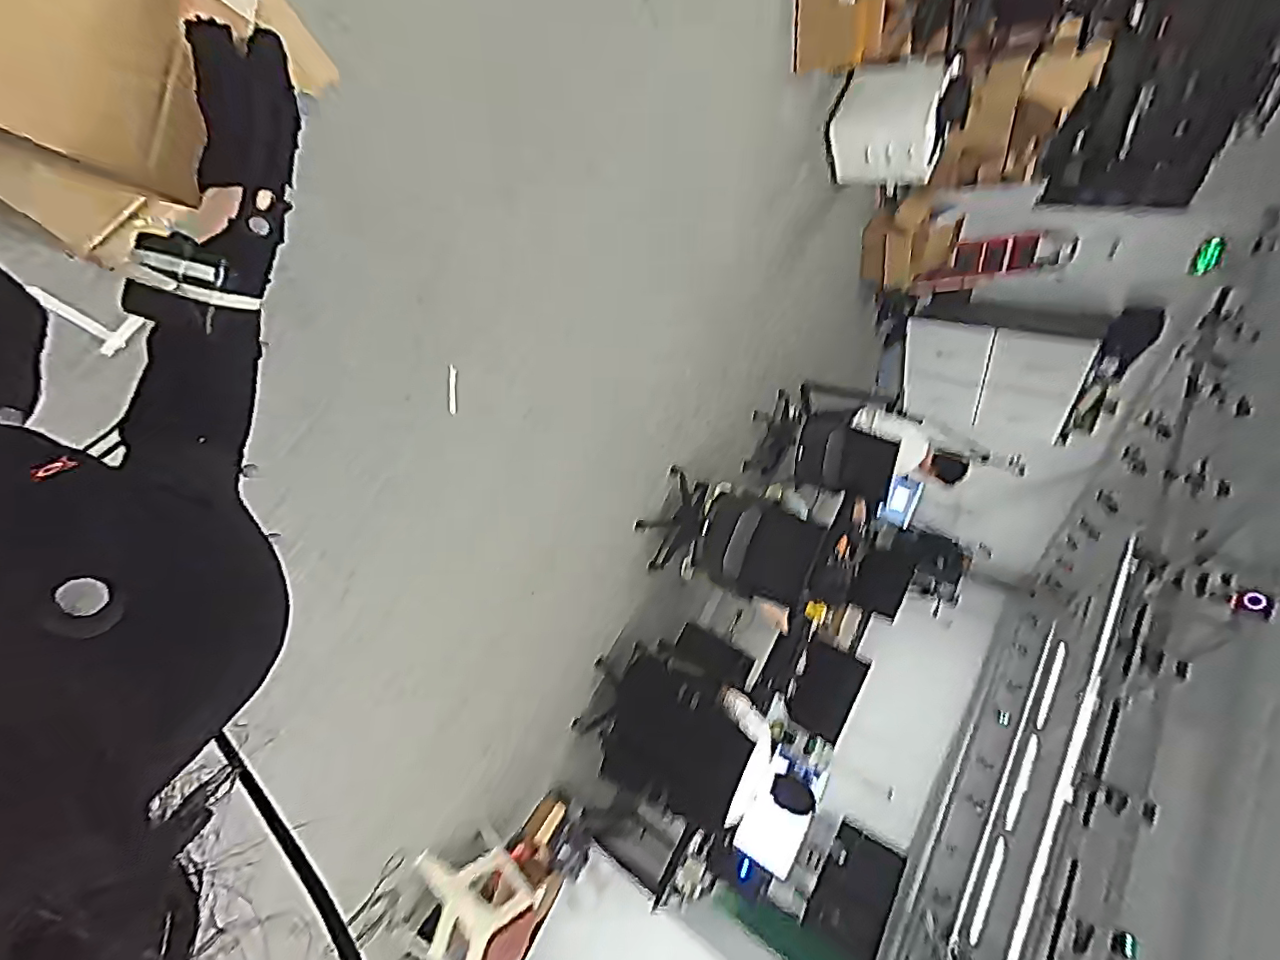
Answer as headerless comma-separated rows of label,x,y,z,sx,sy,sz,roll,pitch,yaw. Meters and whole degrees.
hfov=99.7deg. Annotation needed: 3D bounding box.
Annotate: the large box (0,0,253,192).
large box,-0.510,-0.433,0.318,0.408,0.320,0.320,9,105,-57
